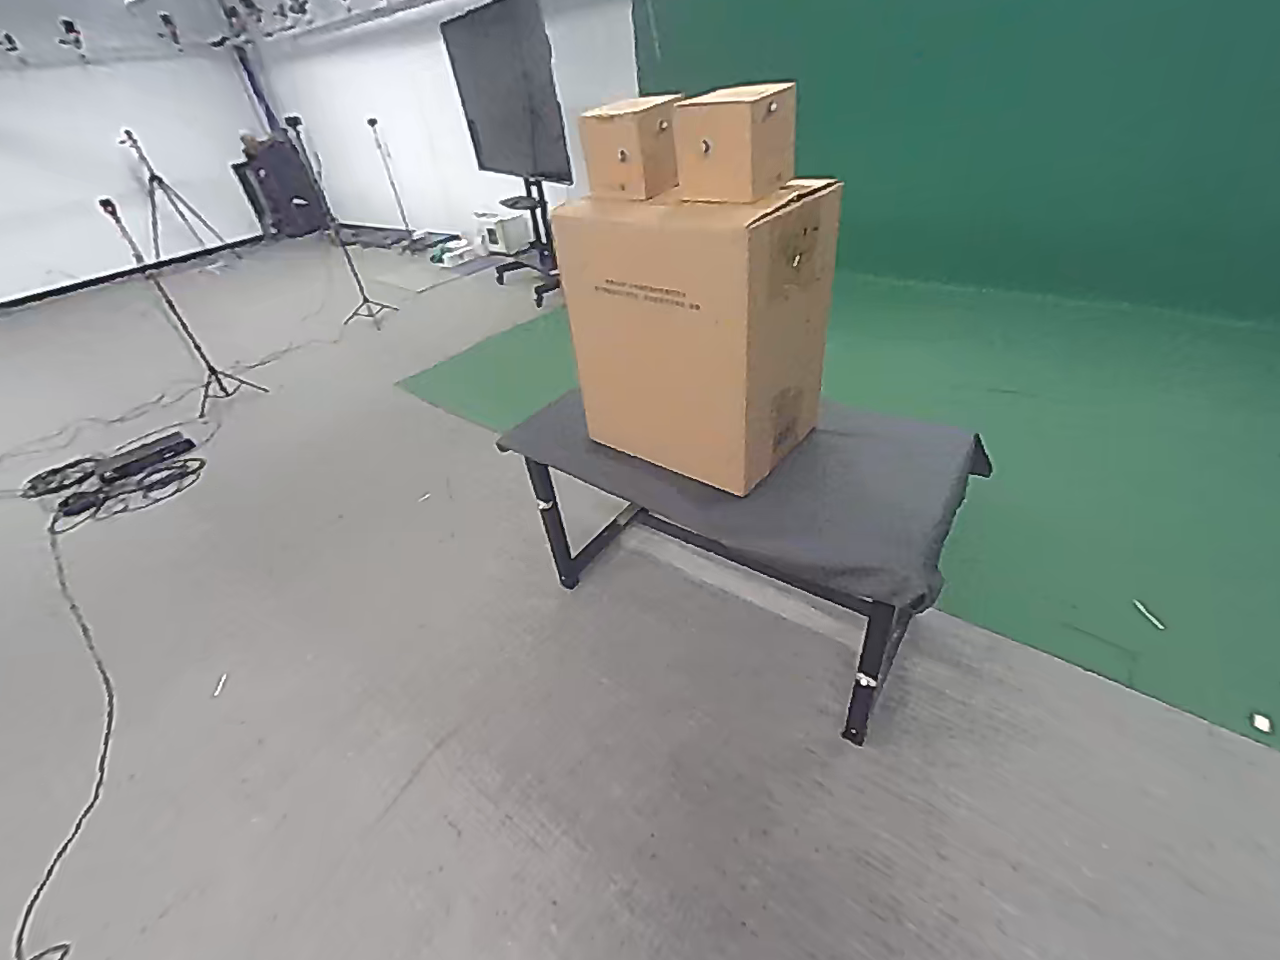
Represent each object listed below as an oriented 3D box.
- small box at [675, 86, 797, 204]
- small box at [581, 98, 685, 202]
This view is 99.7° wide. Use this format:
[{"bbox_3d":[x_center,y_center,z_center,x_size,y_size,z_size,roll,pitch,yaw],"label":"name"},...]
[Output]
[{"bbox_3d":[0.194,-0.662,1.077,0.179,0.176,0.168,23,51,35],"label":"small box"},{"bbox_3d":[-0.004,-0.742,1.220,0.168,0.176,0.179,23,50,32],"label":"small box"}]
